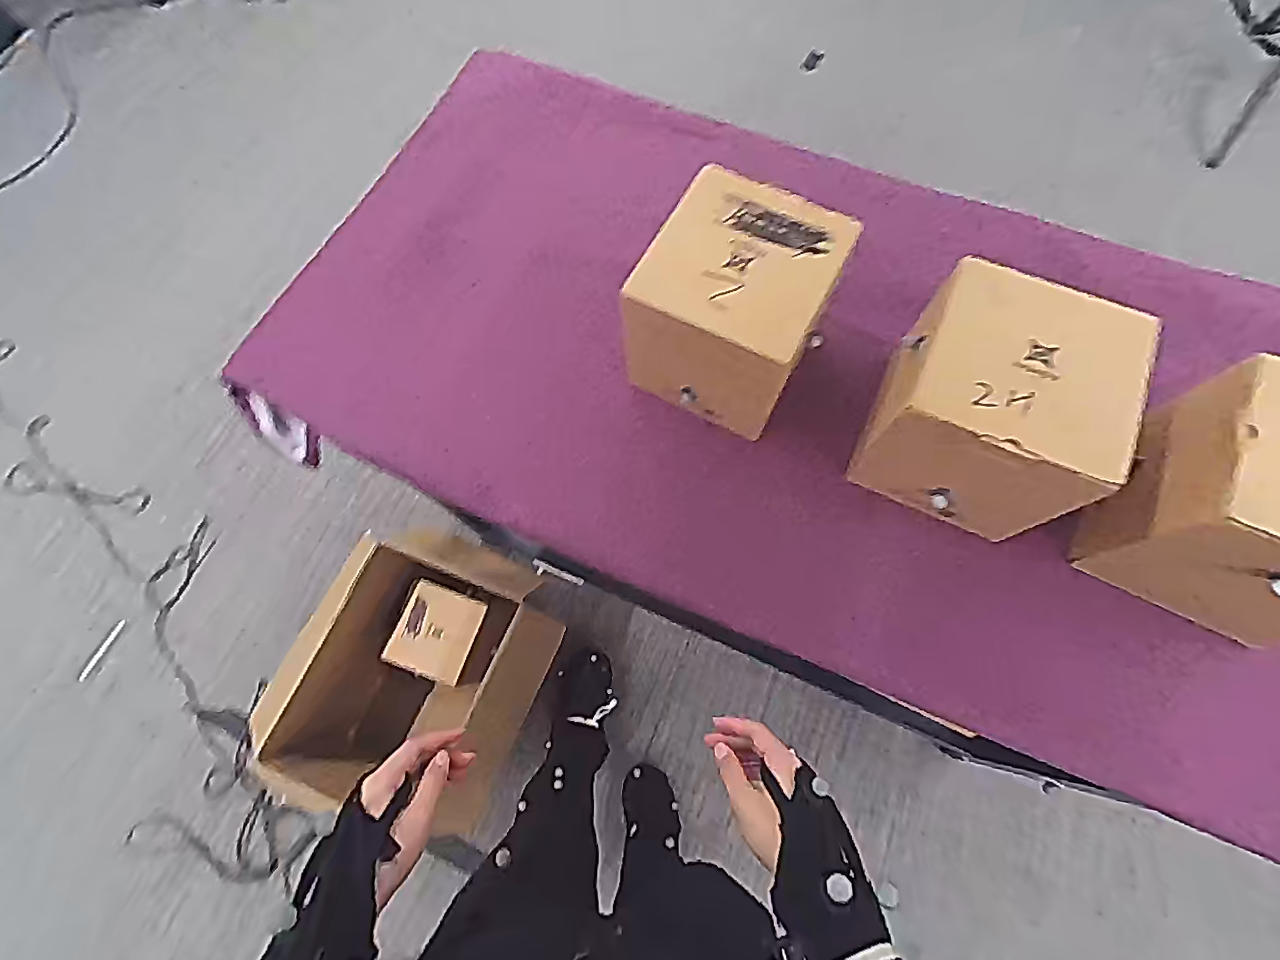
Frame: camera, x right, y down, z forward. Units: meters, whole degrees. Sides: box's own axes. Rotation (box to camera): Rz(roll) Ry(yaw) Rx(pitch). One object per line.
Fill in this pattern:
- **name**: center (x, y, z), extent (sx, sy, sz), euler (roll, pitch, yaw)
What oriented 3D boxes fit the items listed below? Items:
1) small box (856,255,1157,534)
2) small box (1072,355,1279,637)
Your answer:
- **small box**: center (0.335, -0.072, 0.527), extent (0.168, 0.176, 0.179), euler (25, 73, 11)
- **small box**: center (0.551, 0.027, 0.484), extent (0.179, 0.176, 0.168), euler (27, 72, 12)
